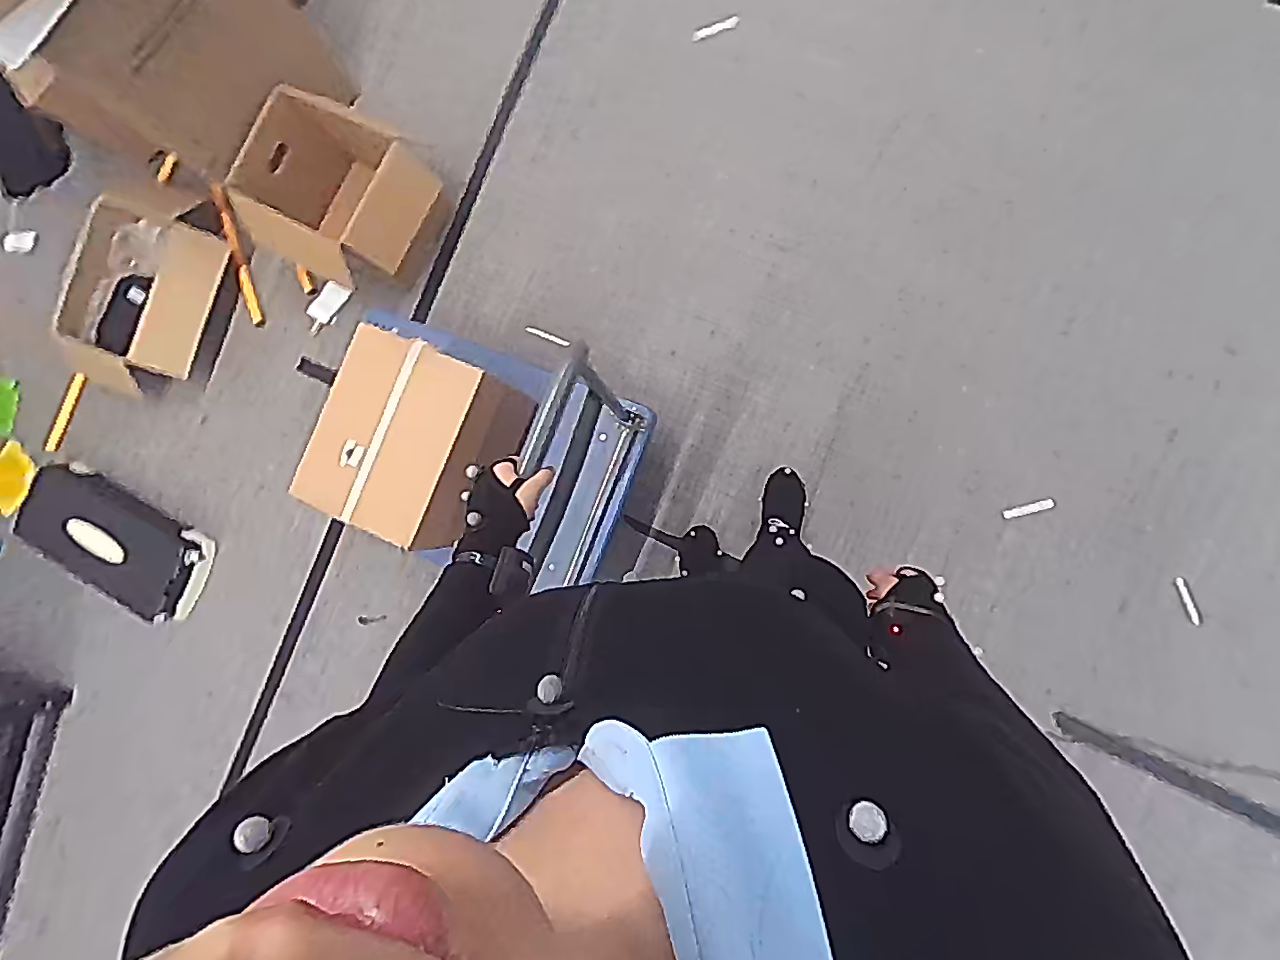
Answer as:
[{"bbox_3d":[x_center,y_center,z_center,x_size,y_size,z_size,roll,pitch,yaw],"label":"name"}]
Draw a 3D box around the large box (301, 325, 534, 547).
[{"bbox_3d":[-0.502,-0.093,1.289,0.320,0.320,0.408,22,91,11],"label":"large box"}]
